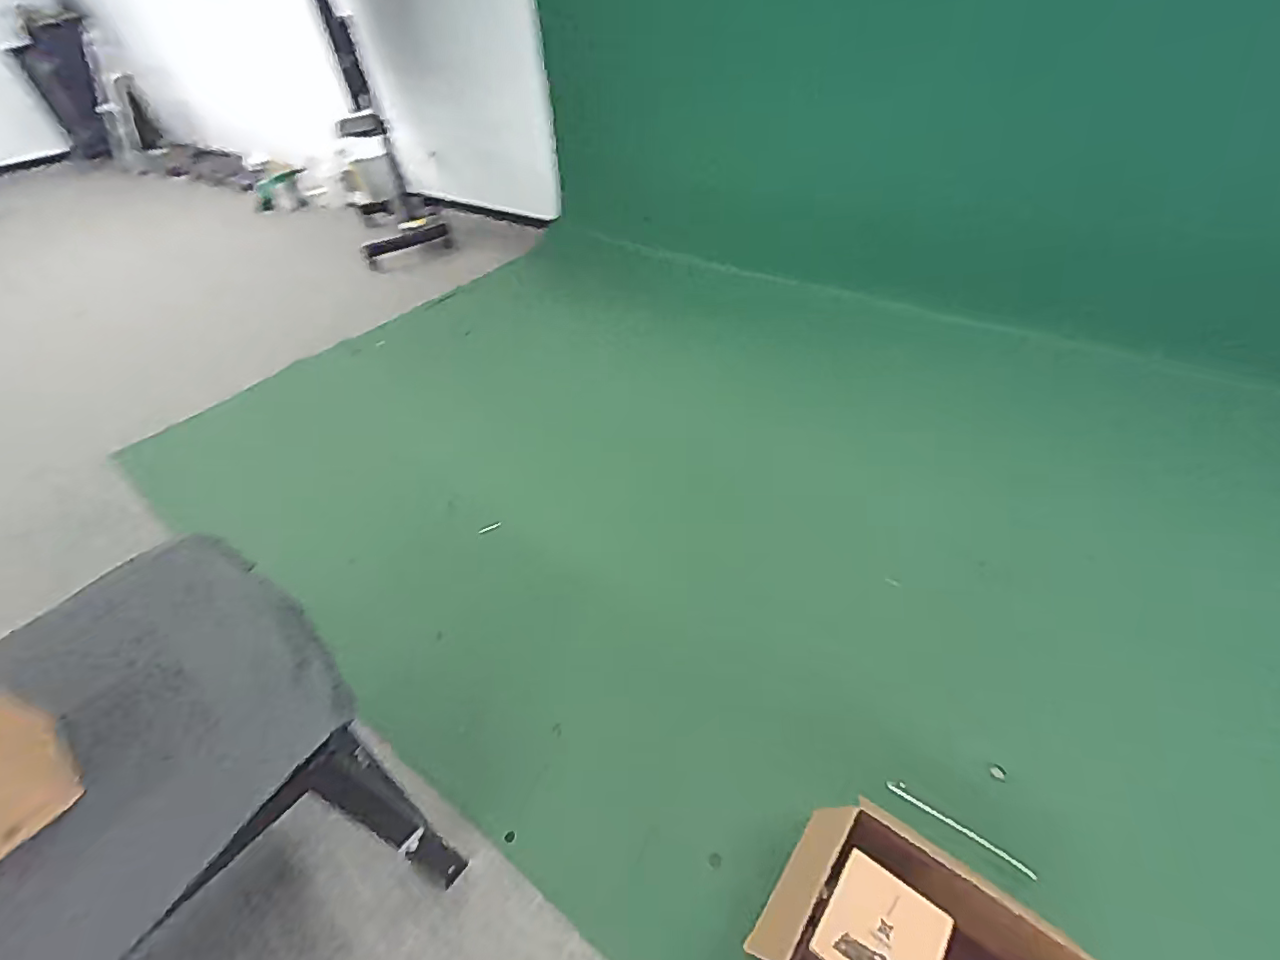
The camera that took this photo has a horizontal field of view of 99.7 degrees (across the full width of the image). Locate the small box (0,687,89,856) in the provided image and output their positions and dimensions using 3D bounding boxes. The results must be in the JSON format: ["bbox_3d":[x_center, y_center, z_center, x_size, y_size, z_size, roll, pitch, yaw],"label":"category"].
[{"bbox_3d":[-0.842,0.365,0.658,0.179,0.176,0.168,26,53,28],"label":"small box"}]
